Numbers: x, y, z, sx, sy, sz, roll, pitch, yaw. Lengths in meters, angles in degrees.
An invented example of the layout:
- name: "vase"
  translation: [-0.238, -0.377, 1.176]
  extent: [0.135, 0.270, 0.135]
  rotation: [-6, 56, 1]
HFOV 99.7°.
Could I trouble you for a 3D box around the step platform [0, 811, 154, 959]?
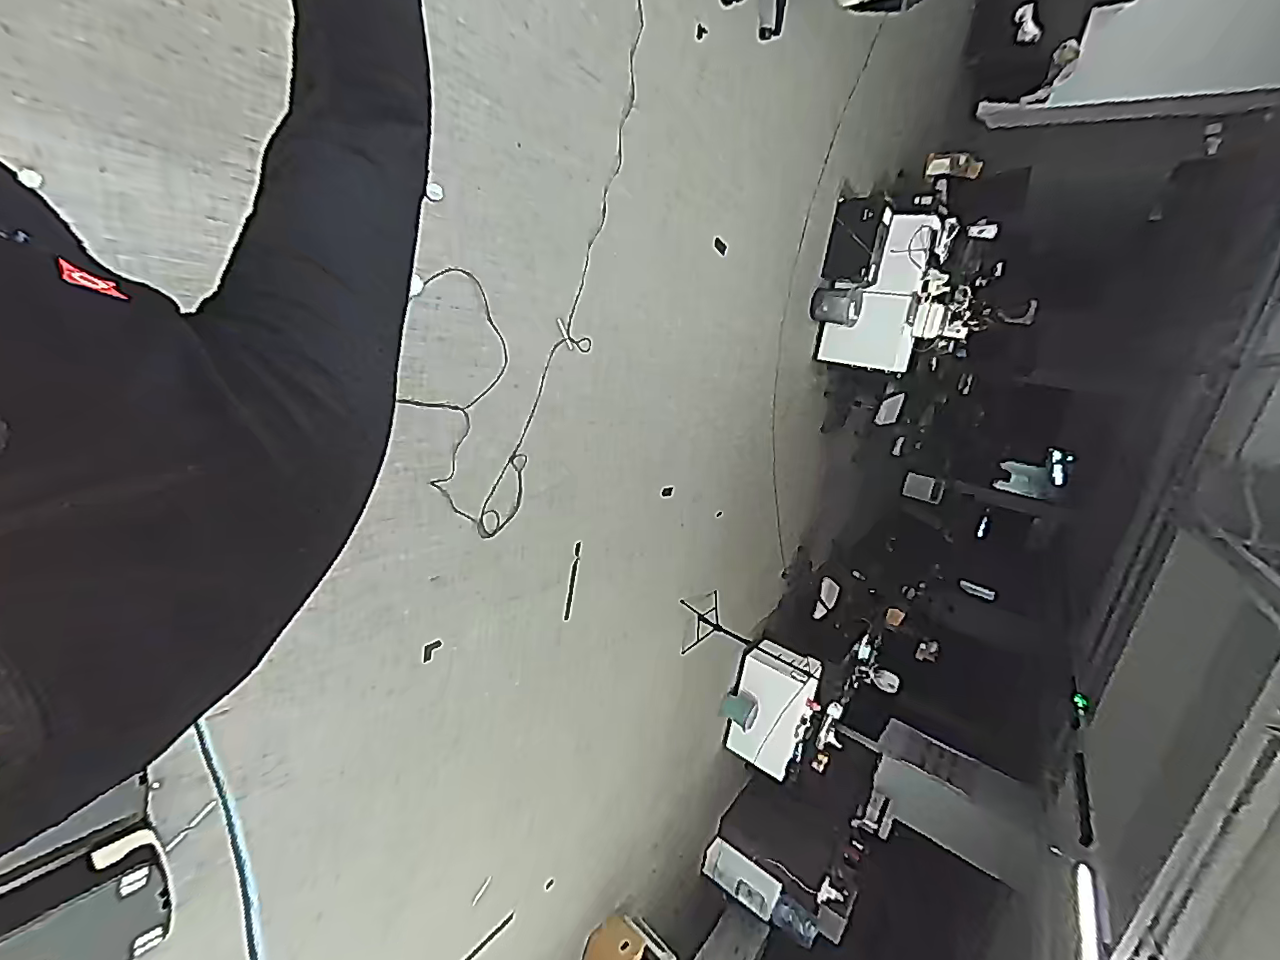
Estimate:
- name: "step platform"
  translation: [-1.422, 1.010, 1.071]
  extent: [0.684, 0.204, 0.286]
  rotation: [-15, 118, -50]
